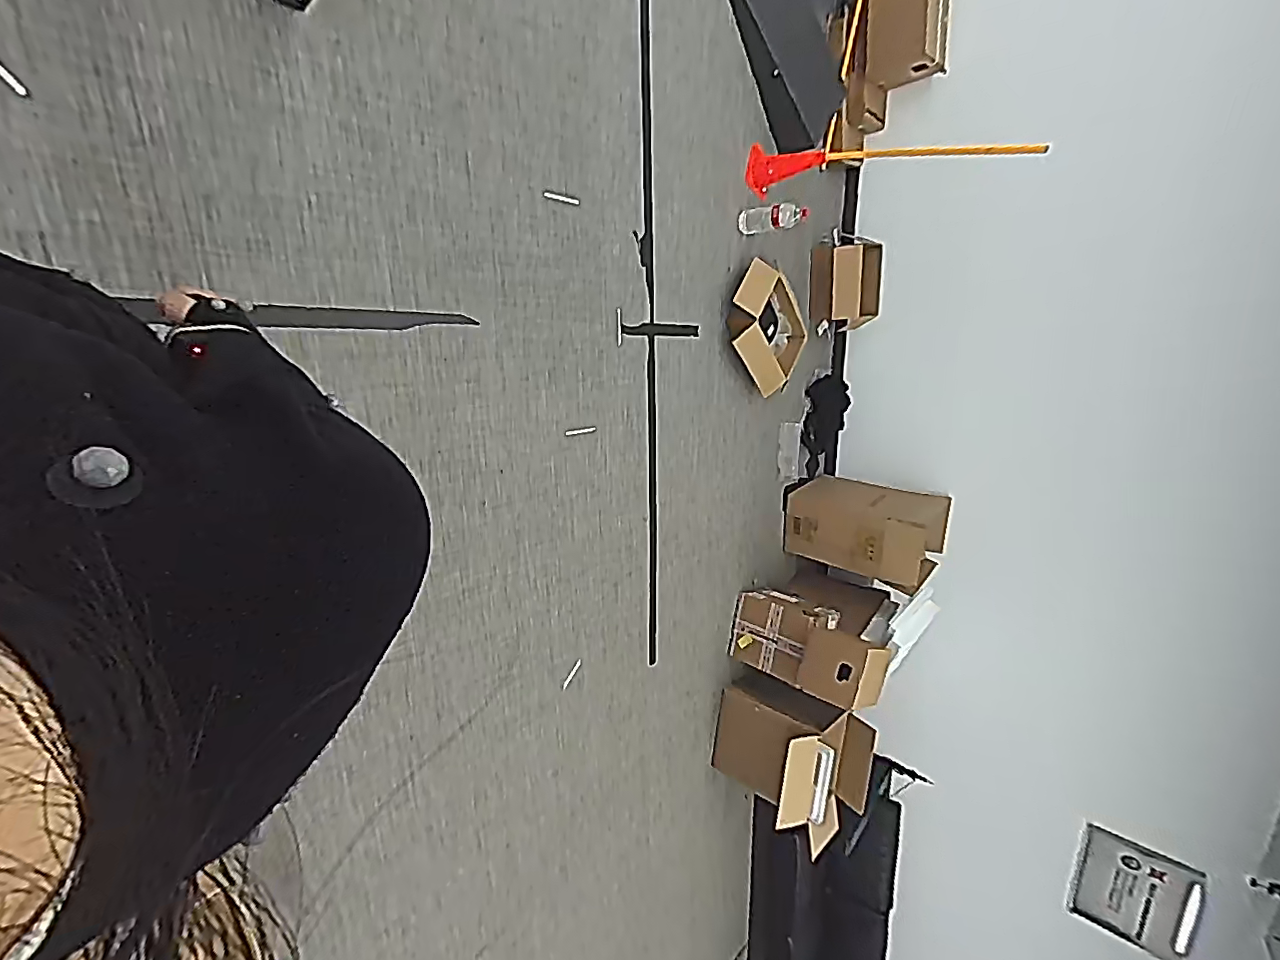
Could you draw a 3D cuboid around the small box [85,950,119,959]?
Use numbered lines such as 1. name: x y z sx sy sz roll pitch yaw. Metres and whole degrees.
1. small box: -1.162 1.146 1.121 0.168 0.176 0.179 -28 119 -43
